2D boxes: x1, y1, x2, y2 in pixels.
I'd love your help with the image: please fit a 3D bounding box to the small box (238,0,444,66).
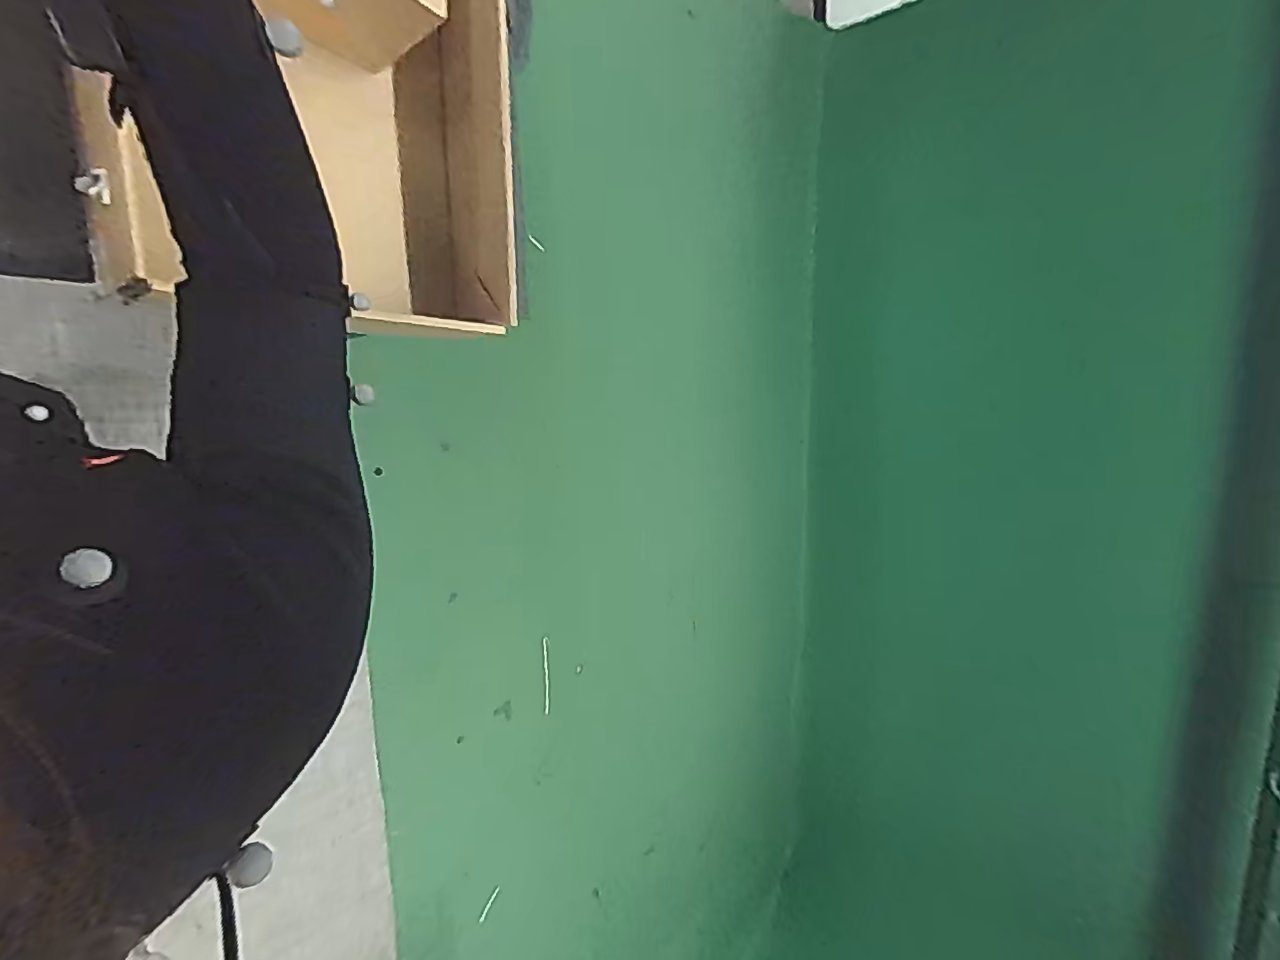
[{"bbox_3d":[-0.339,-0.606,0.596,0.179,0.176,0.168,-6,101,-49],"label":"small box"}]
